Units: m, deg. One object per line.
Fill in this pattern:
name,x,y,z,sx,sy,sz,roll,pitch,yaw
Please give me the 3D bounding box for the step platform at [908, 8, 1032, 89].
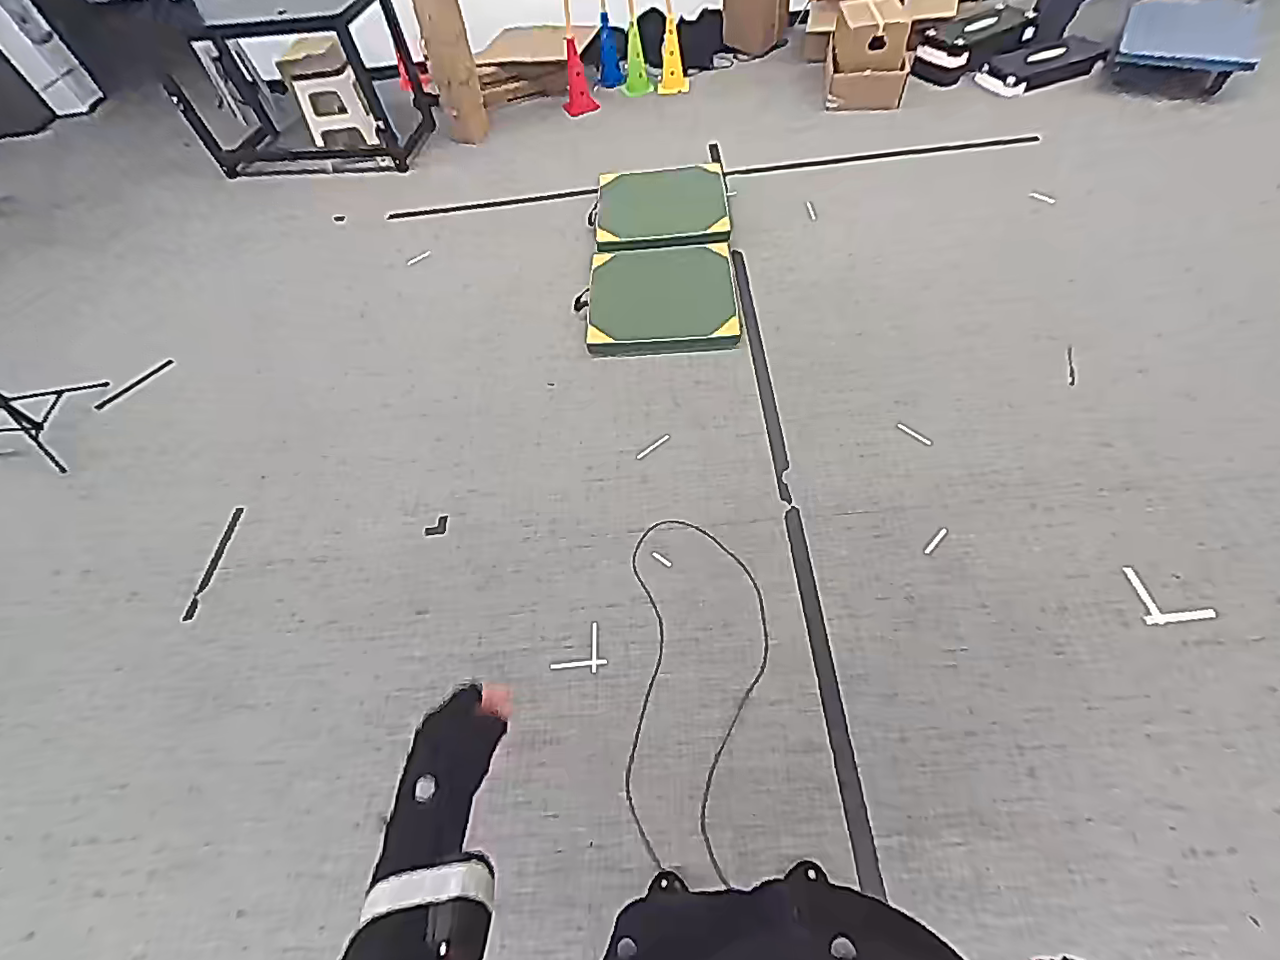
step platform,1.930,-2.534,3.165,0.684,0.204,0.286,-29,58,-12
